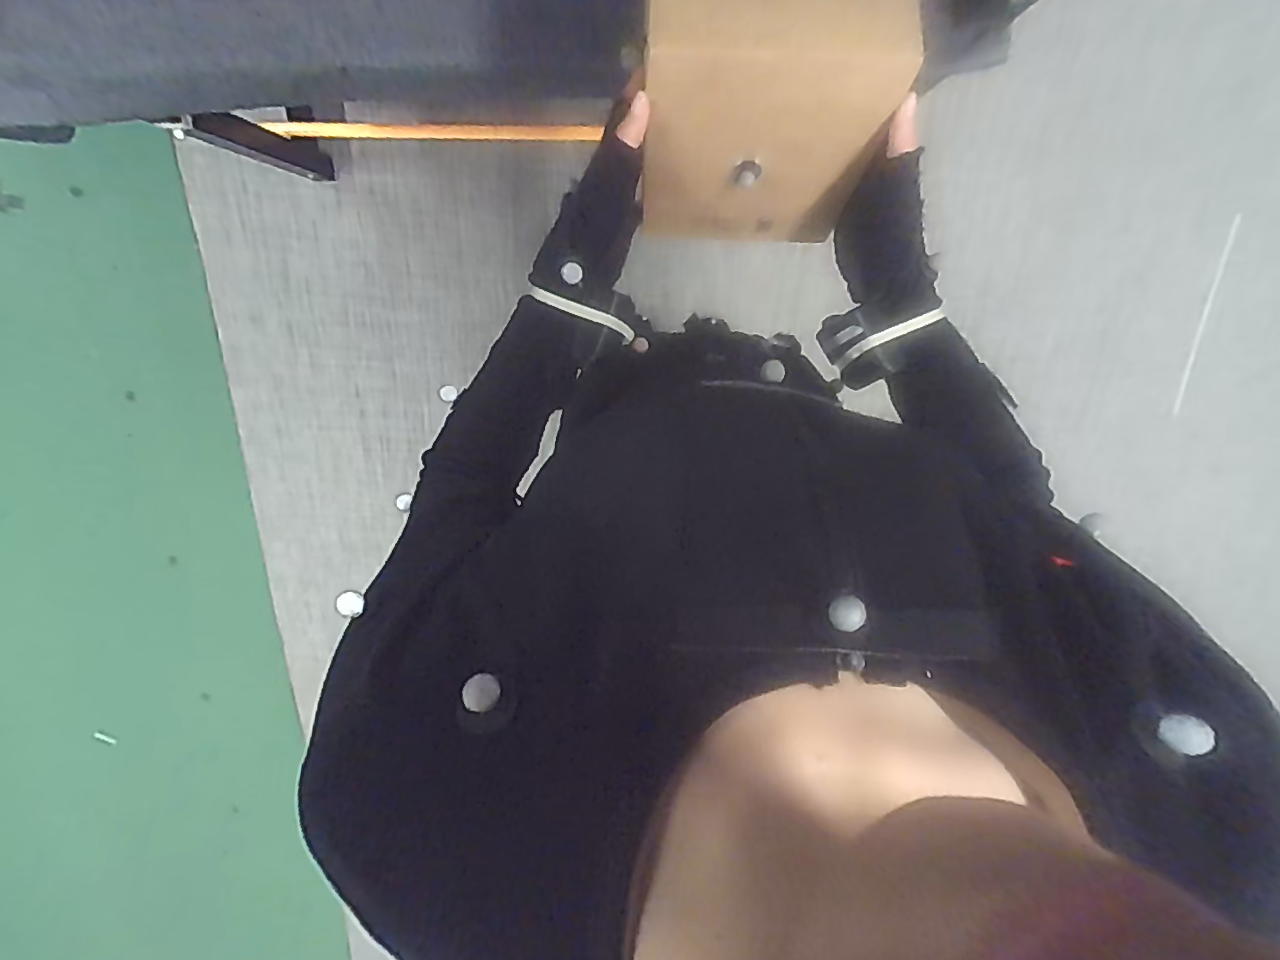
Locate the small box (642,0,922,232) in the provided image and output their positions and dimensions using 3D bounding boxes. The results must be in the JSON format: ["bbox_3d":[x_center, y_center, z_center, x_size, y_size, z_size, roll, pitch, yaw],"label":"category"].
[{"bbox_3d":[0.087,-0.317,0.414,0.168,0.176,0.179,2,76,-1],"label":"small box"}]
